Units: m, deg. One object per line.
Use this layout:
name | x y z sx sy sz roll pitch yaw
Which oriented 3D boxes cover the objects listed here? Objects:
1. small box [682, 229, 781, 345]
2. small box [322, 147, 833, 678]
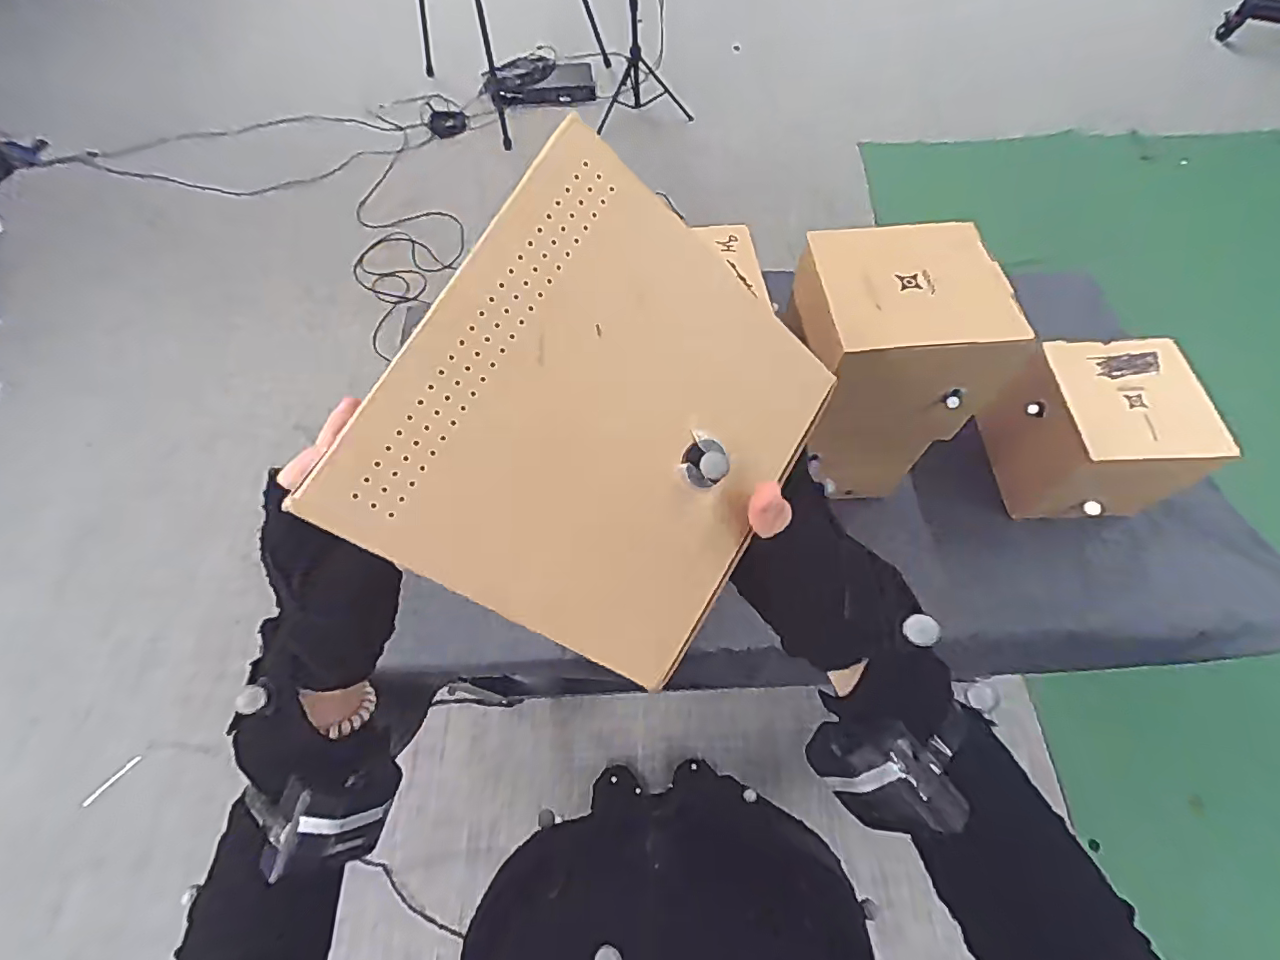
small box | 0.042 -0.145 0.603 0.179 0.176 0.168 -7 63 -1
small box | -0.039 -0.031 0.296 0.176 0.168 0.179 36 80 -24
